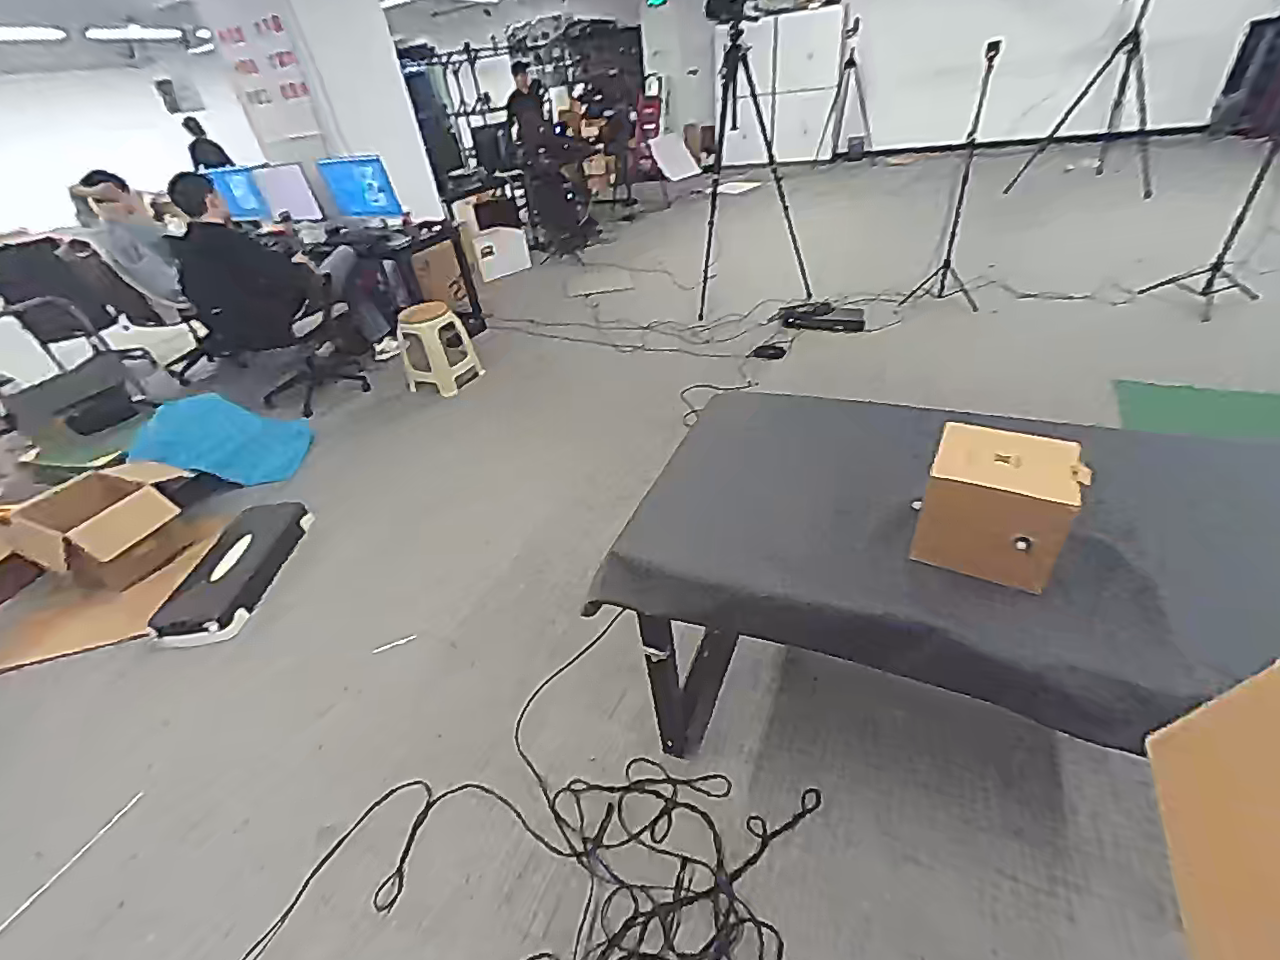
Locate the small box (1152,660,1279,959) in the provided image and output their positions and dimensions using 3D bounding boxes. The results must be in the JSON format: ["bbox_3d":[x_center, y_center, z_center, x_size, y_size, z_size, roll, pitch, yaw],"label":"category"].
[{"bbox_3d":[0.469,0.234,0.330,0.168,0.176,0.179,10,53,19],"label":"small box"}]

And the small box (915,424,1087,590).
[{"bbox_3d":[0.538,0.040,0.817,0.179,0.176,0.168,15,41,30],"label":"small box"}]
